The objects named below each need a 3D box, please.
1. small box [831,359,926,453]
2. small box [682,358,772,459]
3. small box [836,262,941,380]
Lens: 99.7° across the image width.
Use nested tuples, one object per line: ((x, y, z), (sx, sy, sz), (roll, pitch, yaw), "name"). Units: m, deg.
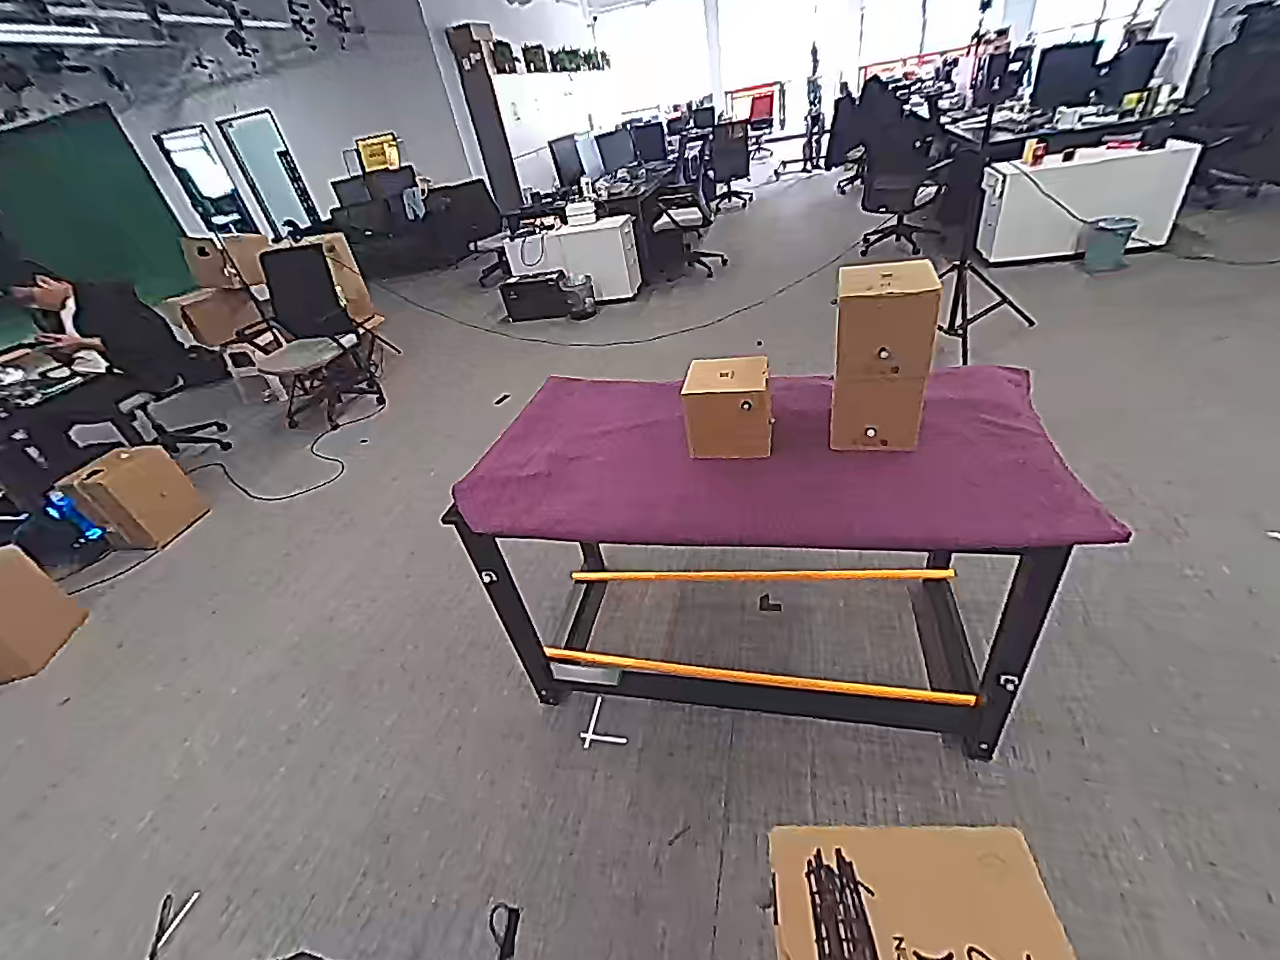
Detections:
((0.496, -0.174, 1.145), (0.168, 0.176, 0.179), (2, 38, 19), "small box")
((0.200, -0.157, 1.210), (0.179, 0.176, 0.168), (0, 36, 16), "small box")
((0.471, -0.306, 1.049), (0.168, 0.176, 0.179), (1, 37, 19), "small box")
